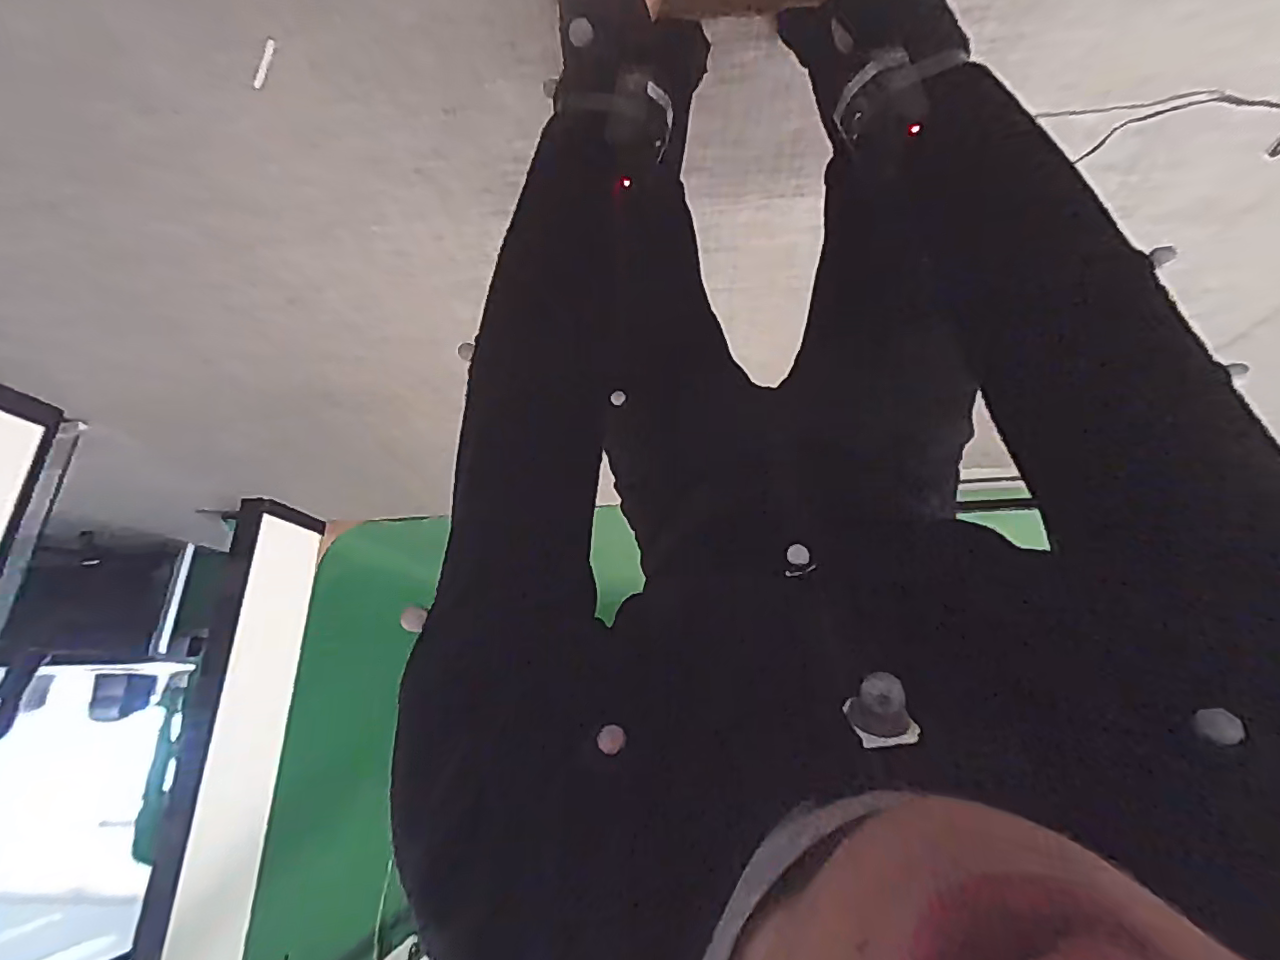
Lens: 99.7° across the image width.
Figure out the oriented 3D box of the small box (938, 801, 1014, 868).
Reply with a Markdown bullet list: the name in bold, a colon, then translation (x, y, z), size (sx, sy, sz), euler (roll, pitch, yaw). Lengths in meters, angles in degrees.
- **small box**: translation (1.181, 1.248, 1.917), size (0.168, 0.176, 0.179), euler (-3, 159, 8)
